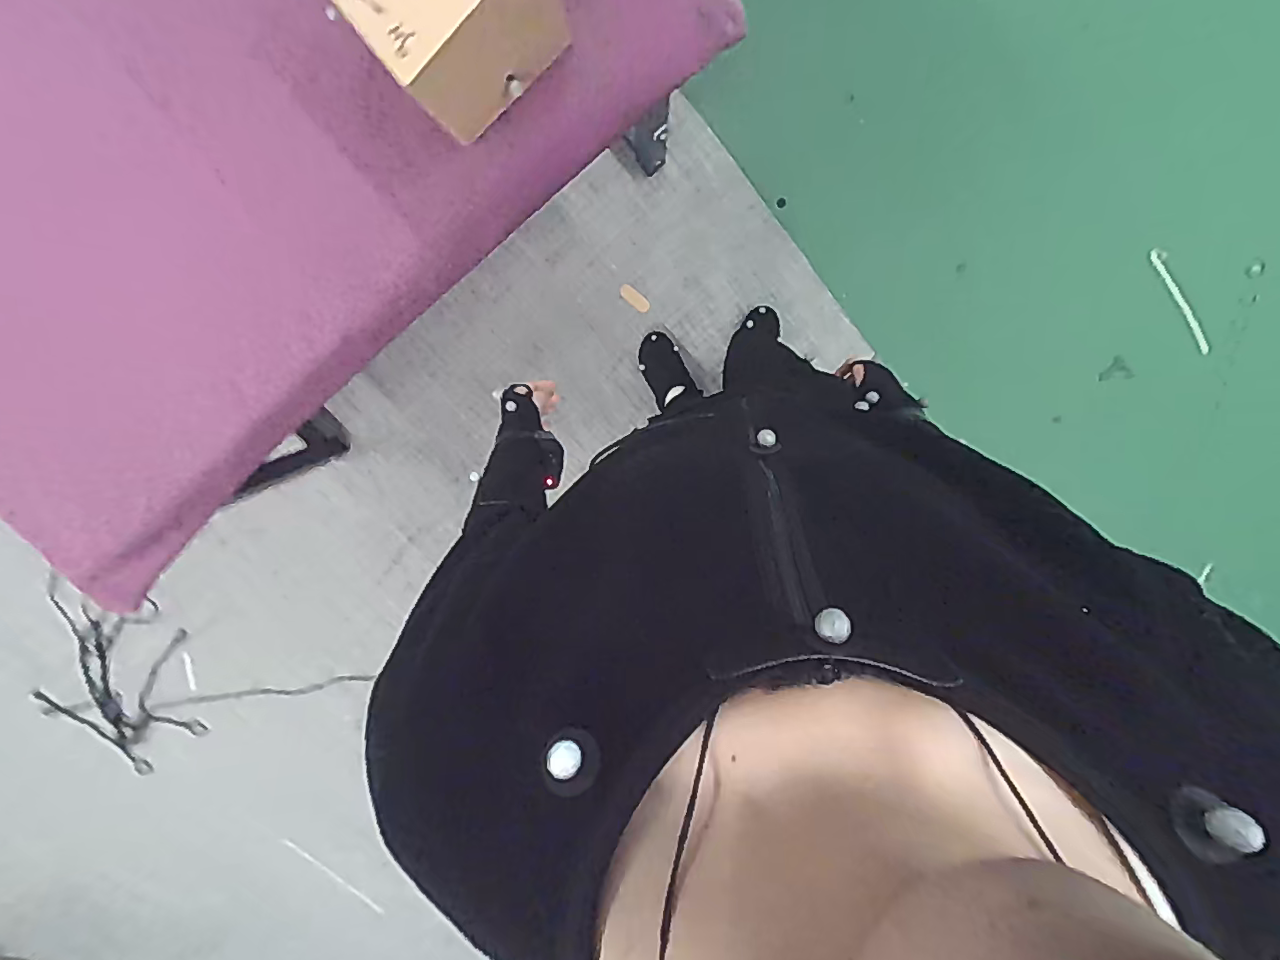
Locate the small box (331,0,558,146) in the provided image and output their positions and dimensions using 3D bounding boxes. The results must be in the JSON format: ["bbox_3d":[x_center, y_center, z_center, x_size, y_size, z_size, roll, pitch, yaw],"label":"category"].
[{"bbox_3d":[-0.201,-0.493,0.551,0.179,0.176,0.168,-38,98,11],"label":"small box"}]
